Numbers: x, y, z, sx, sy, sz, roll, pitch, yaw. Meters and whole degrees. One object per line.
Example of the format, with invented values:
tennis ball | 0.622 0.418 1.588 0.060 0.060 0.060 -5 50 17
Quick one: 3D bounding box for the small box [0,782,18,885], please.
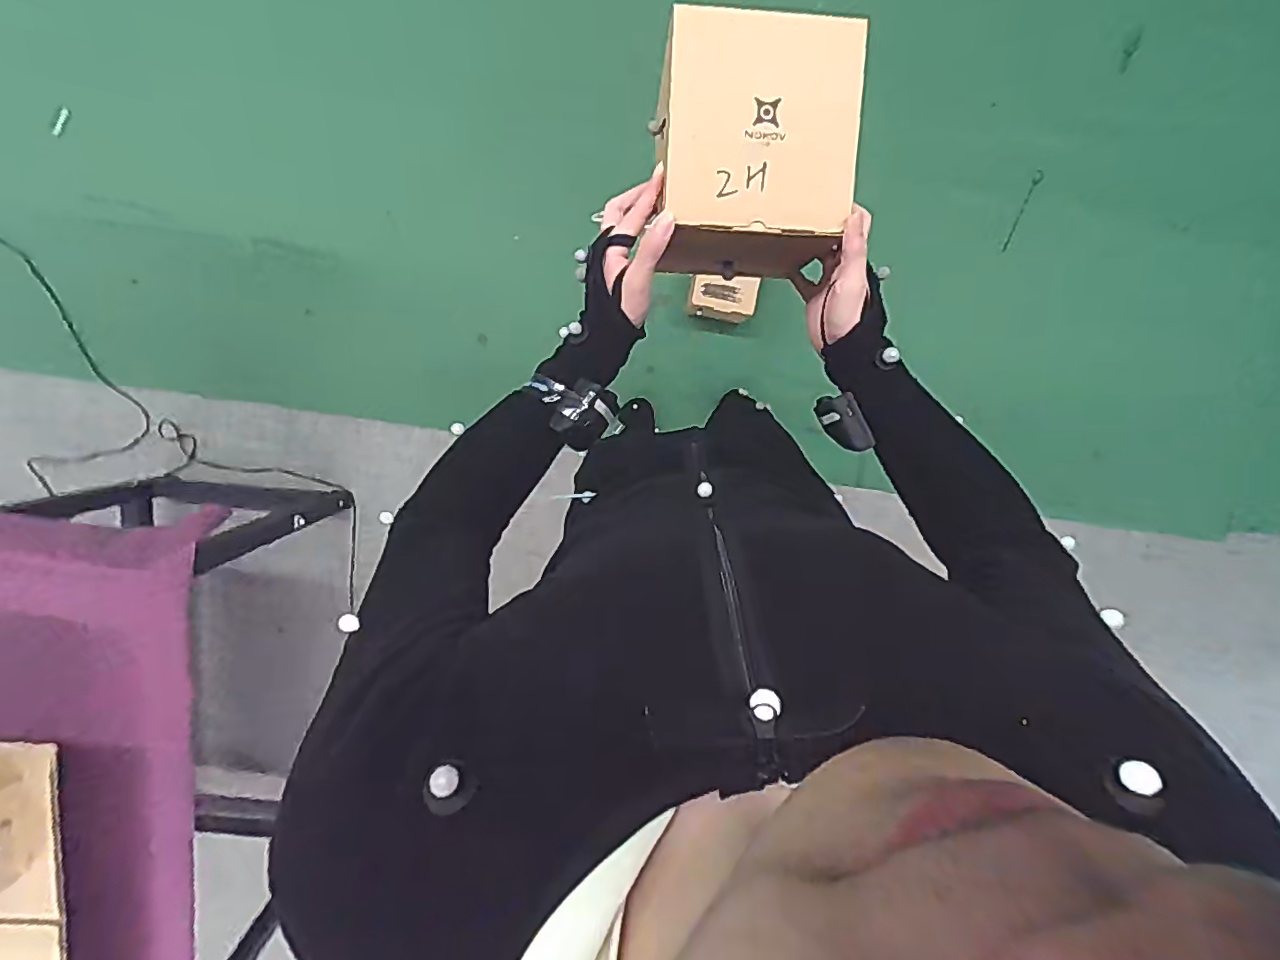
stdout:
small box | -1.018 0.529 0.728 0.179 0.176 0.168 5 97 -3
